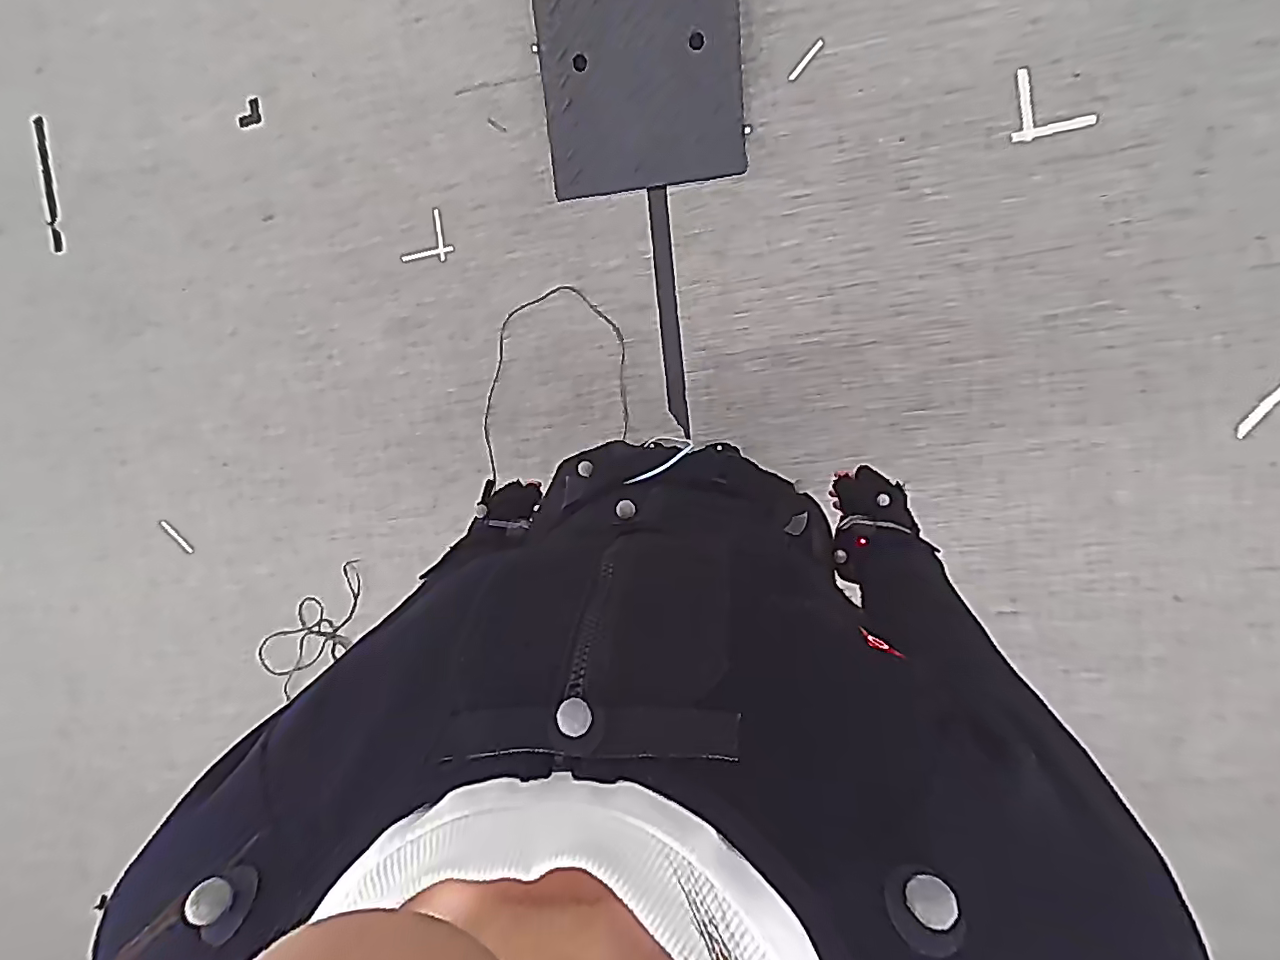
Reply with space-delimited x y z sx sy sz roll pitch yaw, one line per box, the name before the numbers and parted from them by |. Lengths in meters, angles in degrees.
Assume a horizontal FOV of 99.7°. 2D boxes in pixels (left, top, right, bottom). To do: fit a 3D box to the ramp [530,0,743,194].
ramp | -0.030 -1.238 1.246 0.509 0.206 0.991 -5 95 8
